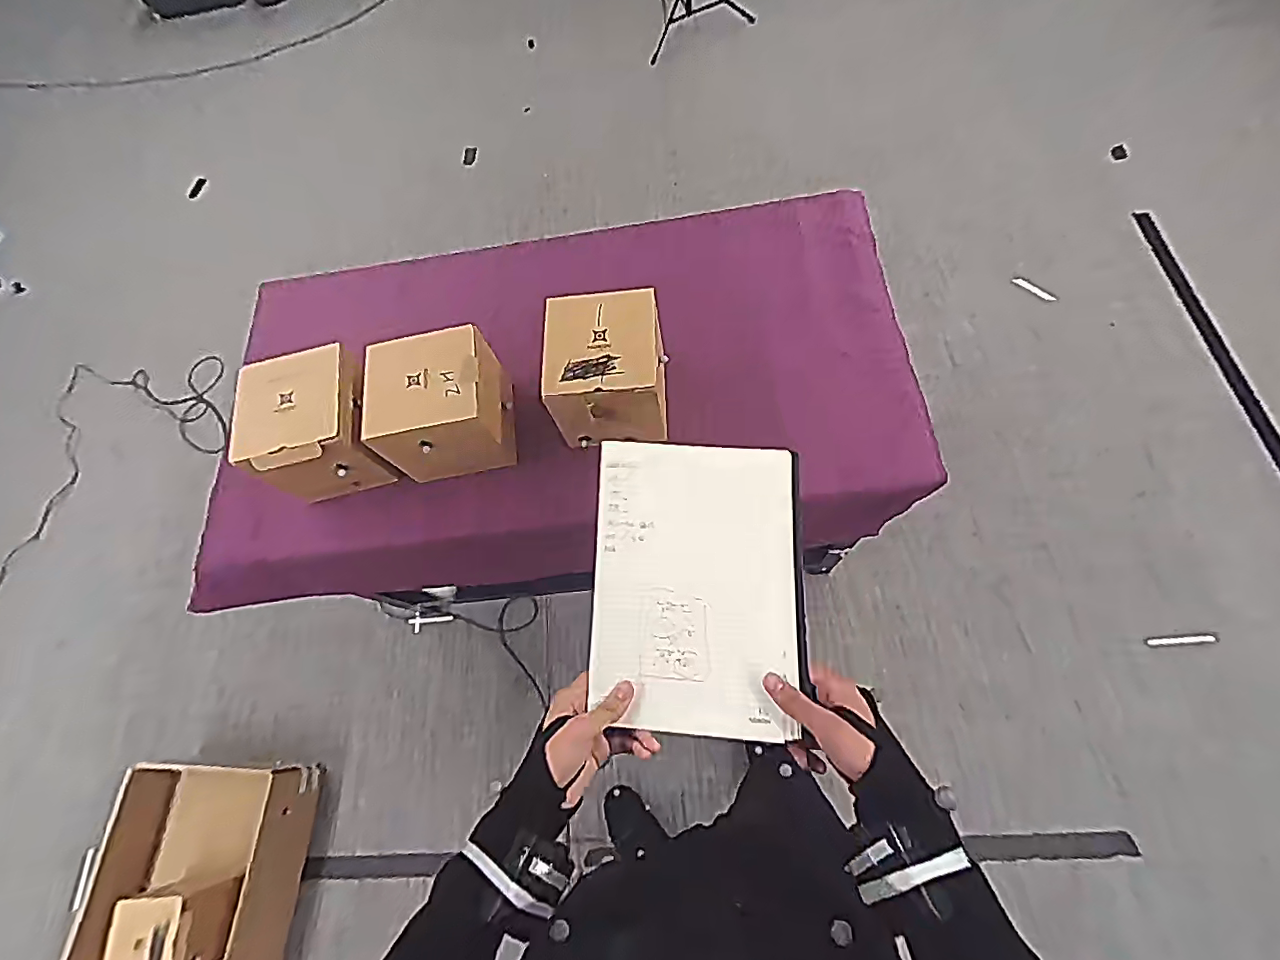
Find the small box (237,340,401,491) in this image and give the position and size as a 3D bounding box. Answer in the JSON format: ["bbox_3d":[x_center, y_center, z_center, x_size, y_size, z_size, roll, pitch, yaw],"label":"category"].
[{"bbox_3d":[-0.509,-0.093,0.883,0.168,0.176,0.179,-13,67,2],"label":"small box"}]

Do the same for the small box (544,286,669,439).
[{"bbox_3d":[-0.044,-0.173,0.850,0.168,0.176,0.179,-3,67,6],"label":"small box"}]
